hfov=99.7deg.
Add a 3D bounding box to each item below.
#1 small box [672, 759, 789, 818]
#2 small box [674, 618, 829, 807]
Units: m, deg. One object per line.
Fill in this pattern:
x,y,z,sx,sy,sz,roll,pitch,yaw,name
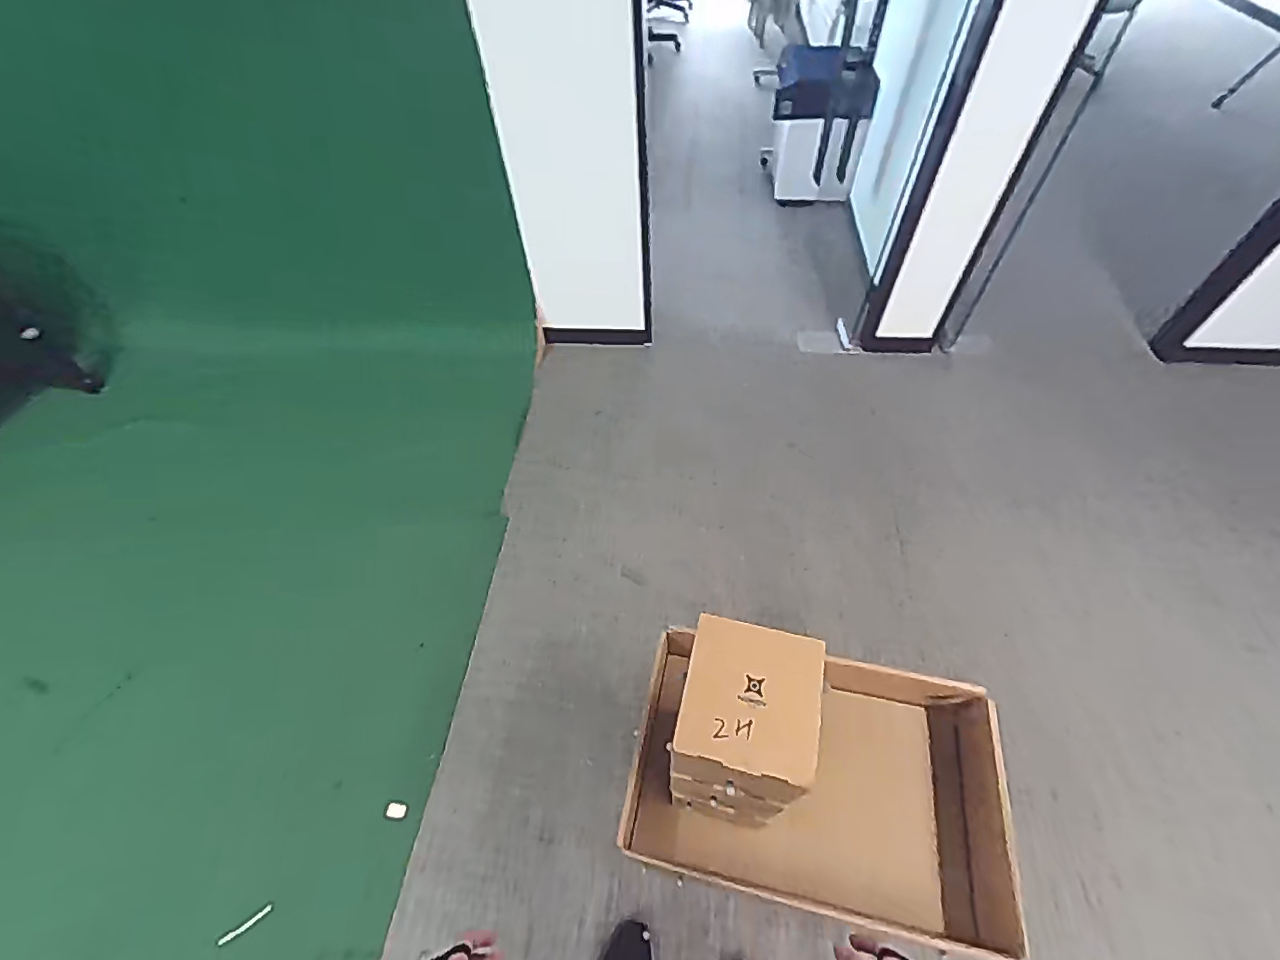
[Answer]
0.146,0.411,0.856,0.168,0.176,0.179,11,56,9,small box
0.142,0.313,0.724,0.168,0.176,0.179,12,57,10,small box
